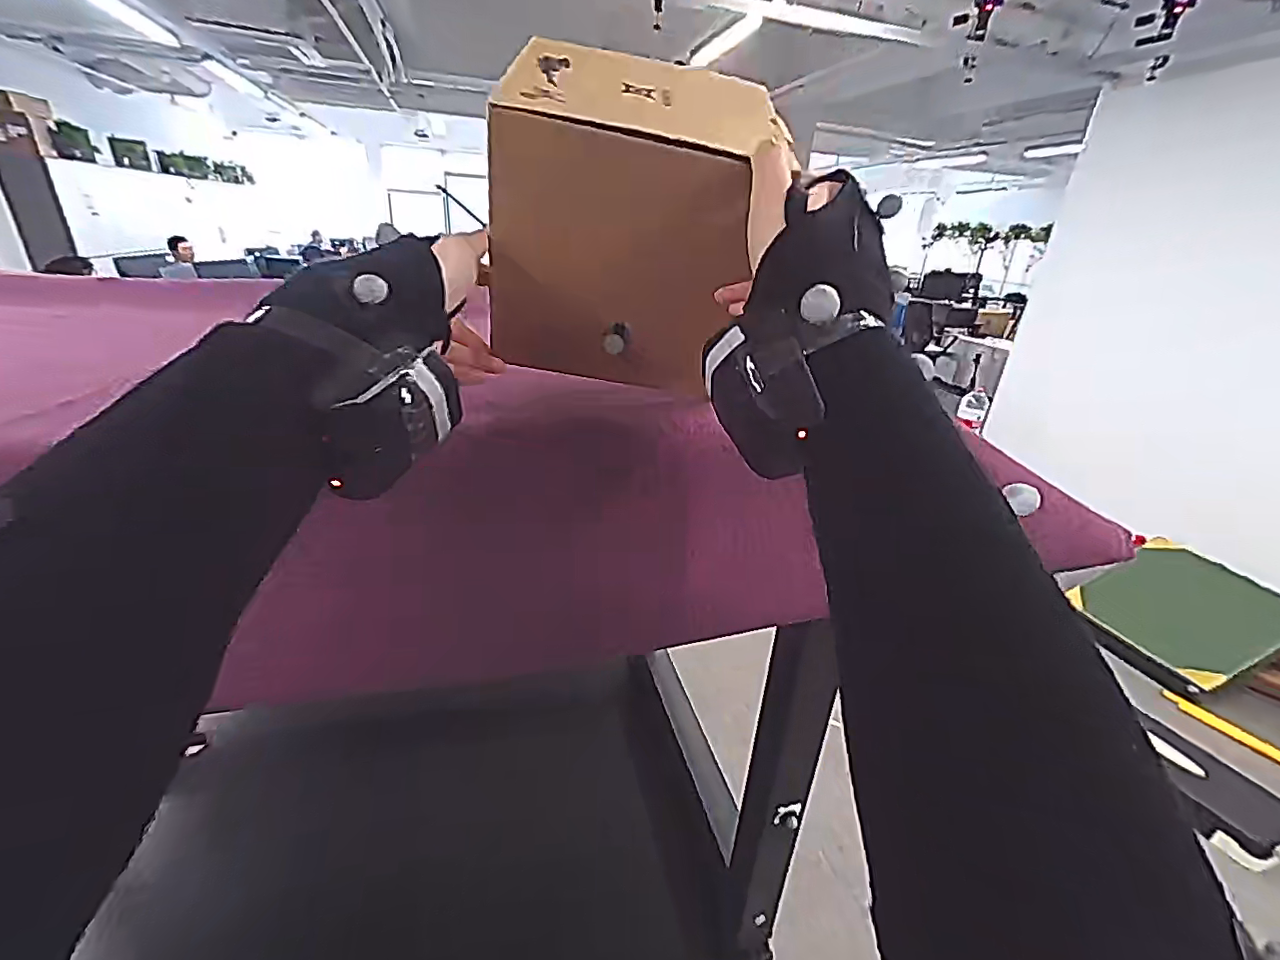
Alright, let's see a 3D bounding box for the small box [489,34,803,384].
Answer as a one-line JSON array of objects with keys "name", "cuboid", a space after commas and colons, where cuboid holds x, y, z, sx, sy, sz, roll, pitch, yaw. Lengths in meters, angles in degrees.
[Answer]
[{"name": "small box", "cuboid": [-0.007, -0.192, 0.400, 0.179, 0.176, 0.168, 8, 46, -7]}]
